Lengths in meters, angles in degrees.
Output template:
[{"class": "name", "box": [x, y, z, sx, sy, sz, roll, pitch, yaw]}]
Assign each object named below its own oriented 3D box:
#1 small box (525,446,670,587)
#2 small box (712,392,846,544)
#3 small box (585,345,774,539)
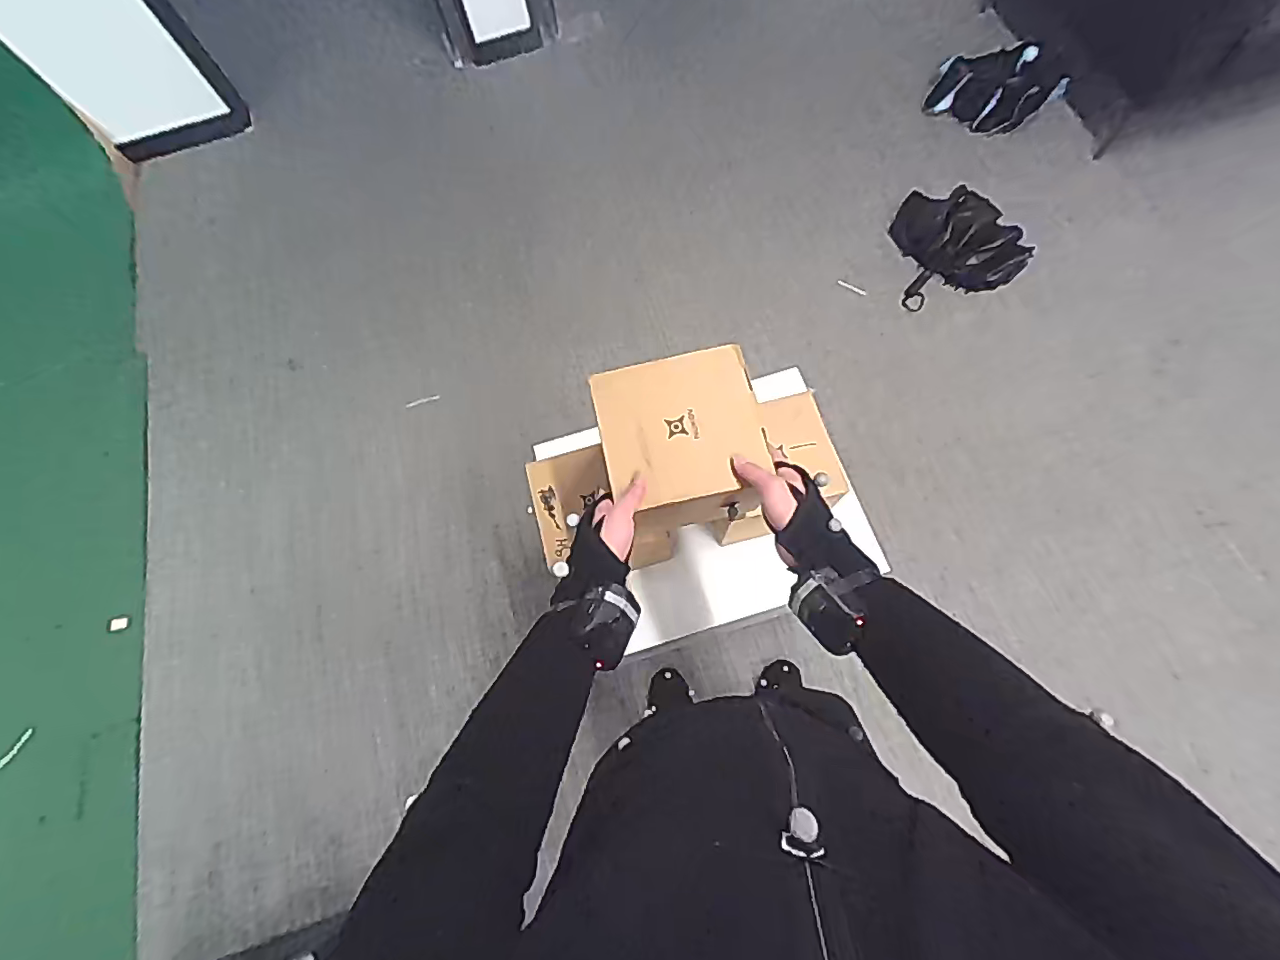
[{"class": "small box", "box": [-0.062, 0.055, 0.838, 0.179, 0.176, 0.168, -16, 71, -4]}, {"class": "small box", "box": [0.189, -0.010, 0.844, 0.179, 0.176, 0.168, -14, 71, -2]}, {"class": "small box", "box": [0.044, -0.035, 0.656, 0.179, 0.176, 0.168, -14, 74, 1]}]
